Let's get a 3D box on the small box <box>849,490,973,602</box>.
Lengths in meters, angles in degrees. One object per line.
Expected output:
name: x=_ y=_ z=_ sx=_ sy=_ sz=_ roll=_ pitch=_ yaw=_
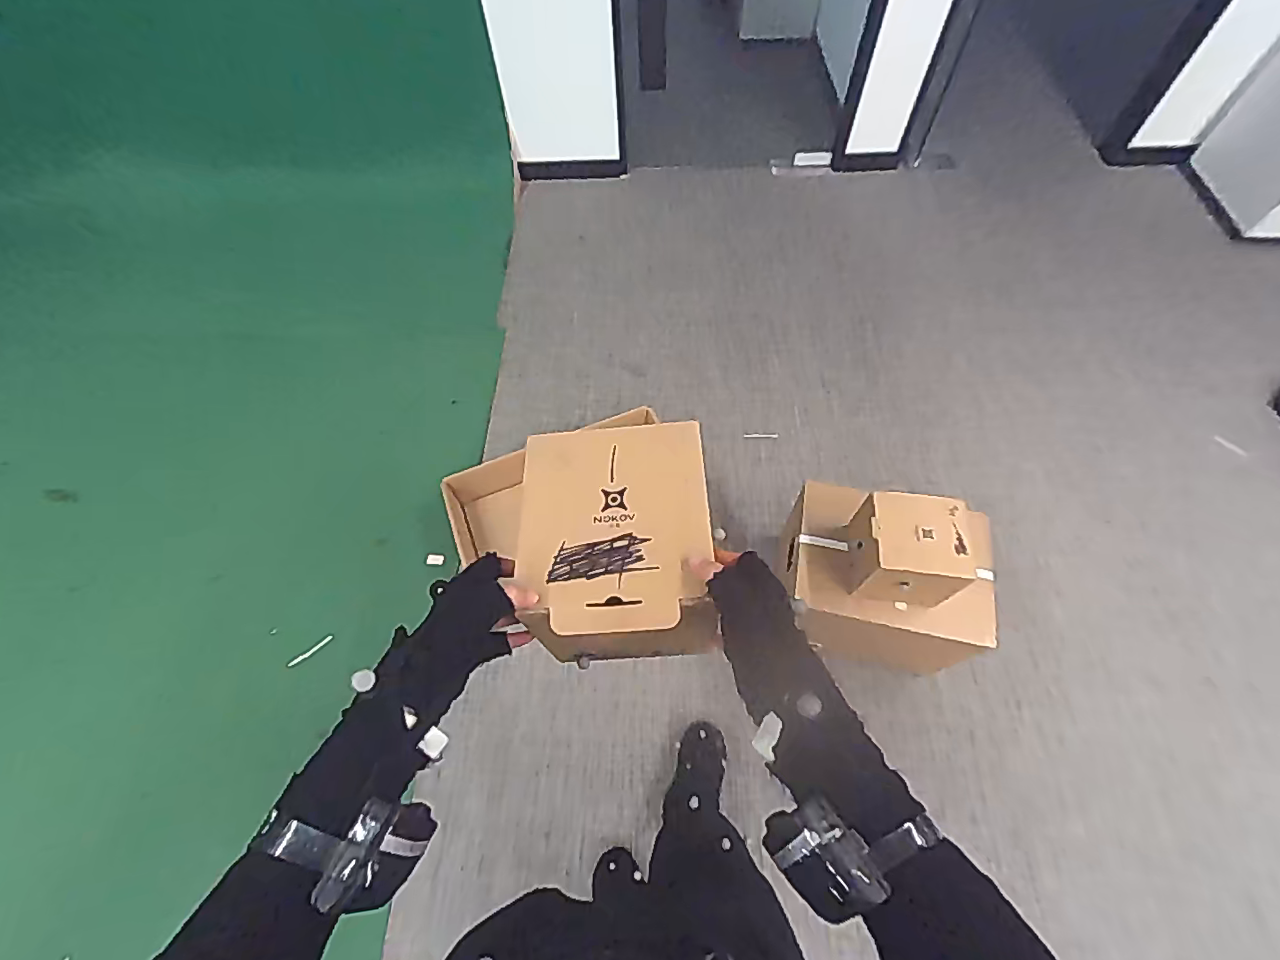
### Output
small box: x=0.528 y=0.137 z=1.085 sx=0.179 sy=0.176 sz=0.168 roll=6 pitch=61 yaw=6

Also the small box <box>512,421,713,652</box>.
small box: x=-0.016 y=0.066 z=0.539 sx=0.168 sy=0.176 sz=0.179 roll=-5 pitch=57 yaw=4
